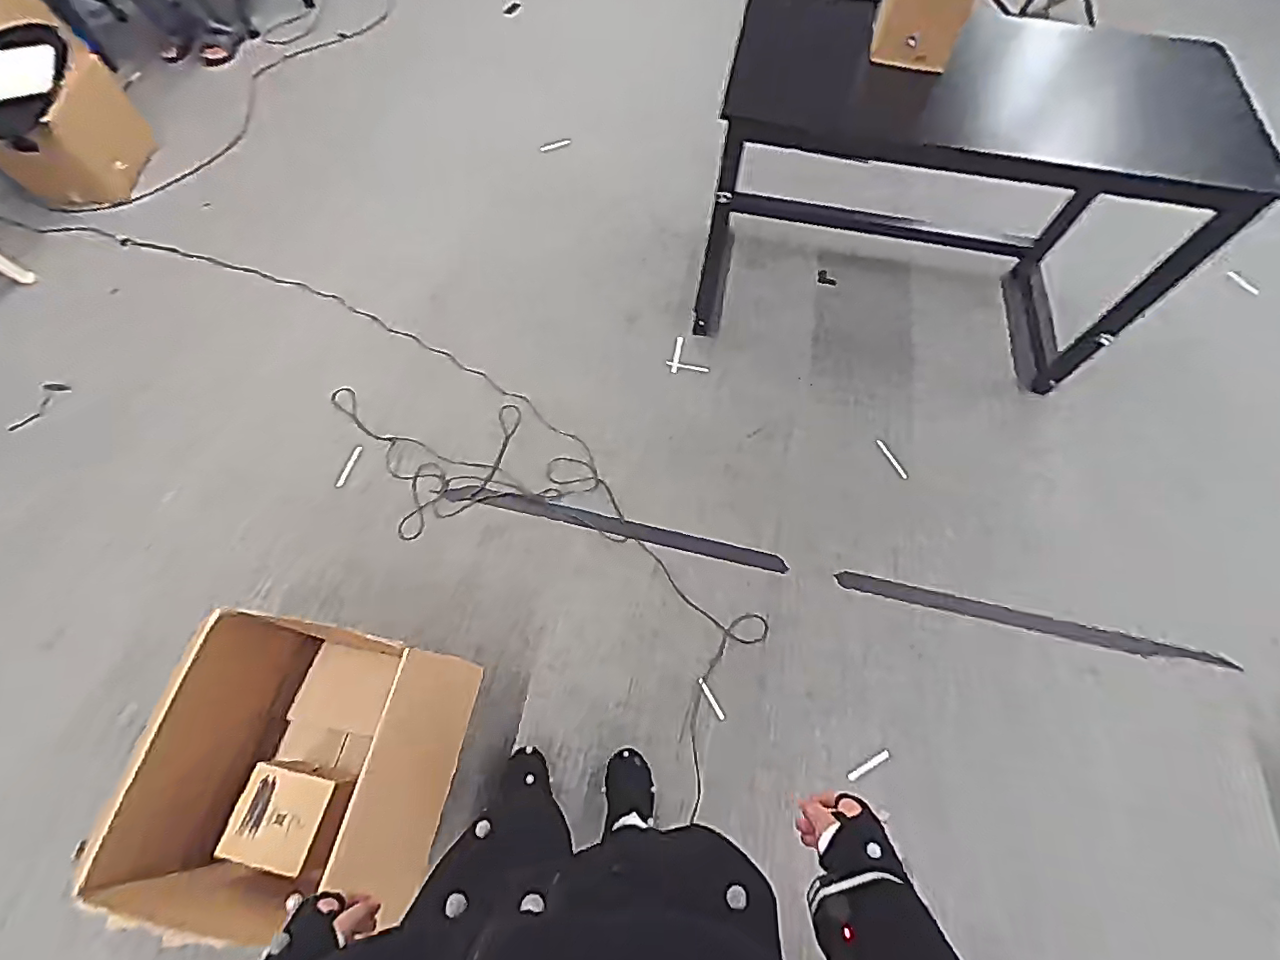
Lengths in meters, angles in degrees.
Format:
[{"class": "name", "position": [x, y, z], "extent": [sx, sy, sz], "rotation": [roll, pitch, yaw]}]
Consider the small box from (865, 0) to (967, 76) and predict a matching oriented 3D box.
[{"class": "small box", "position": [0.642, -1.094, 1.266], "extent": [0.168, 0.176, 0.179], "rotation": [12, 64, 4]}]
